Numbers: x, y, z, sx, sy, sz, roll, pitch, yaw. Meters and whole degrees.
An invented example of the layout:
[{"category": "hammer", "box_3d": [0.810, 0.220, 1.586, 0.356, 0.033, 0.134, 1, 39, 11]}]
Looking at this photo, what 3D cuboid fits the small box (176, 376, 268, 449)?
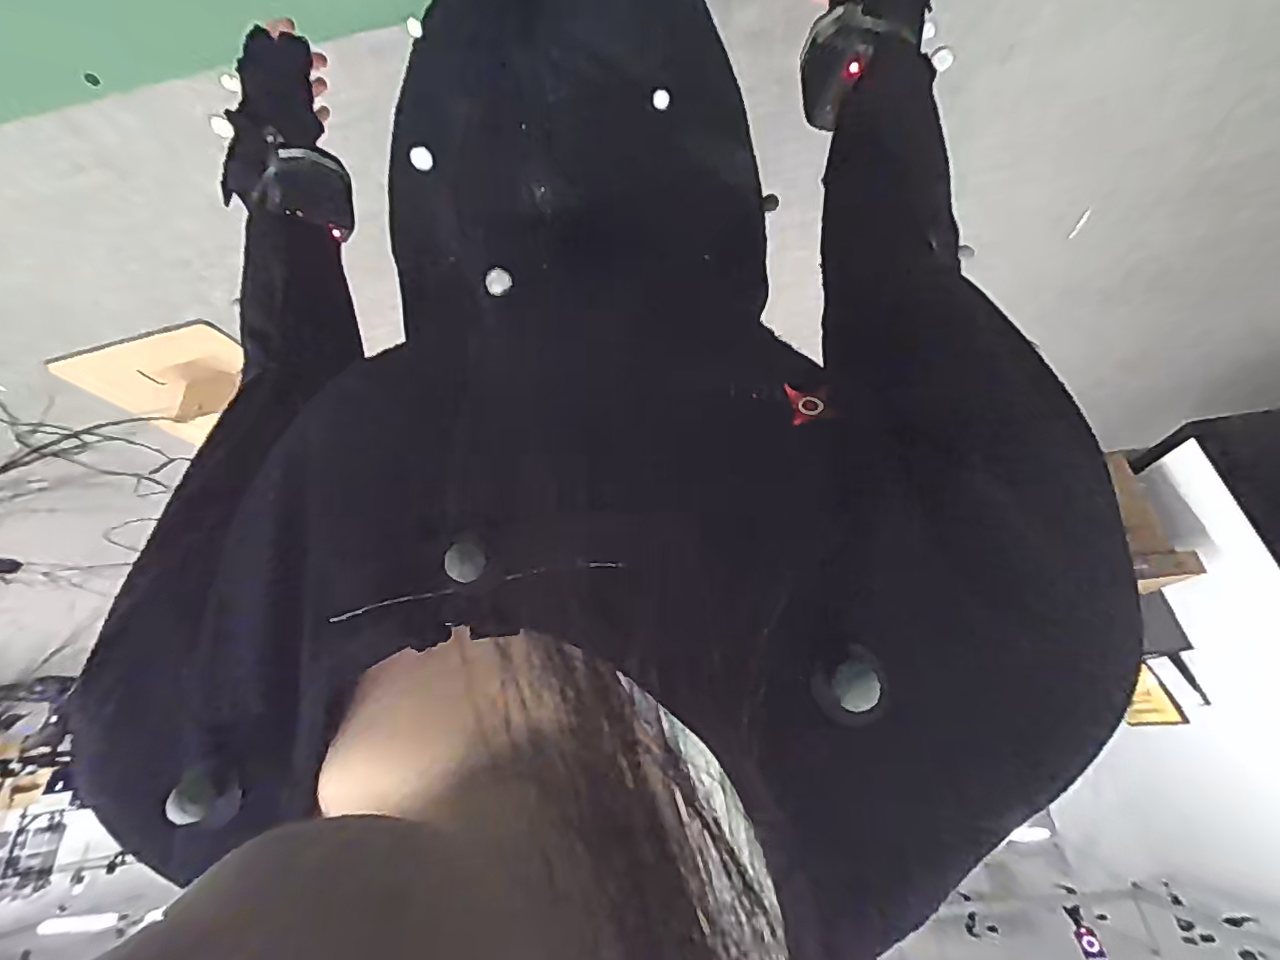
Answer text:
[{"category": "small box", "box_3d": [-1.417, -0.231, 1.848, 0.179, 0.176, 0.168, -13, 153, 9]}]
